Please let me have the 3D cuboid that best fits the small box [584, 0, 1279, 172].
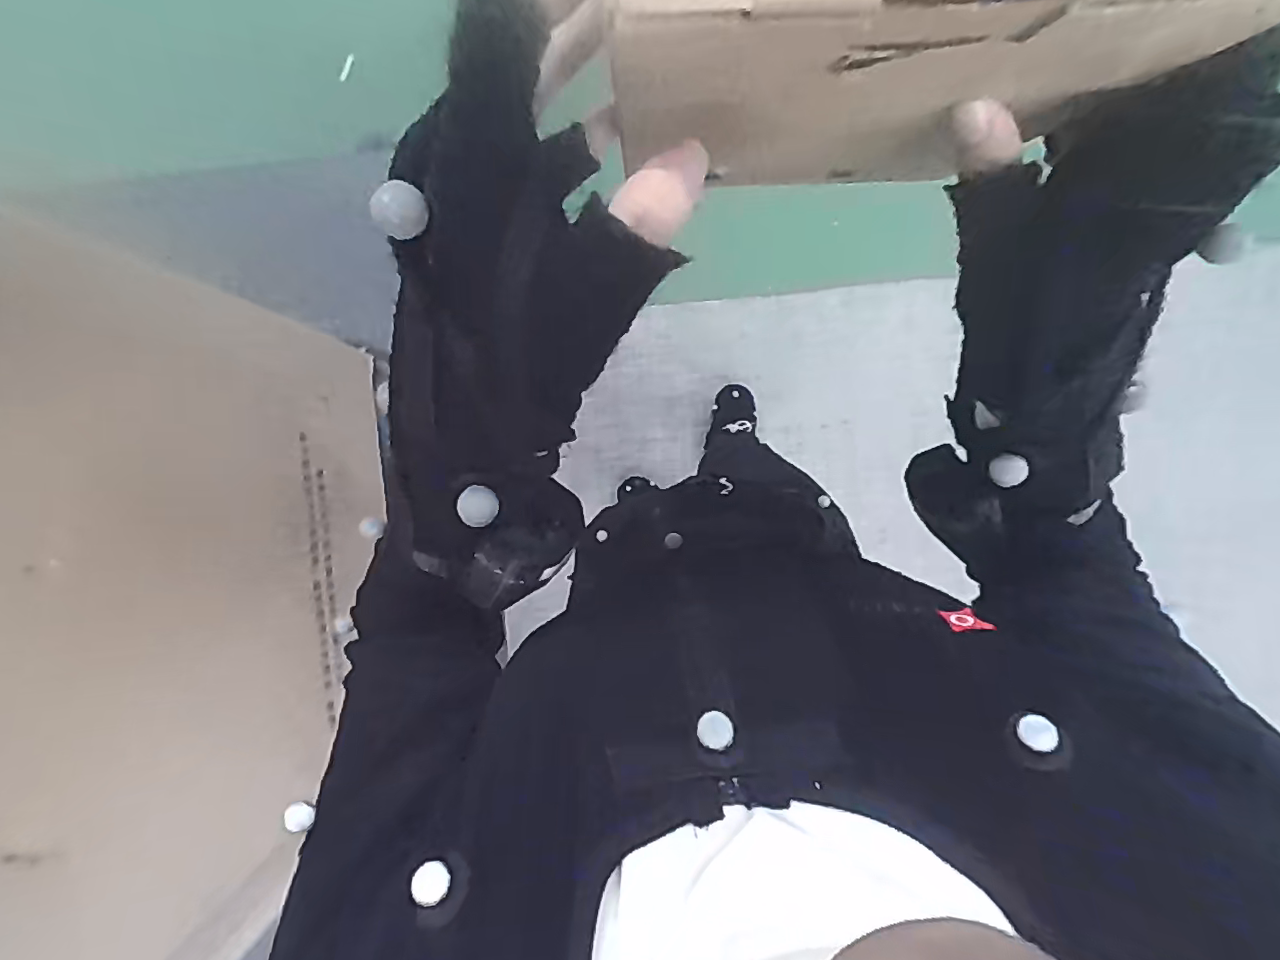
[{"bbox_3d":[0.069,-0.212,0.173,0.168,0.176,0.179,-1,106,2],"label":"small box"}]
